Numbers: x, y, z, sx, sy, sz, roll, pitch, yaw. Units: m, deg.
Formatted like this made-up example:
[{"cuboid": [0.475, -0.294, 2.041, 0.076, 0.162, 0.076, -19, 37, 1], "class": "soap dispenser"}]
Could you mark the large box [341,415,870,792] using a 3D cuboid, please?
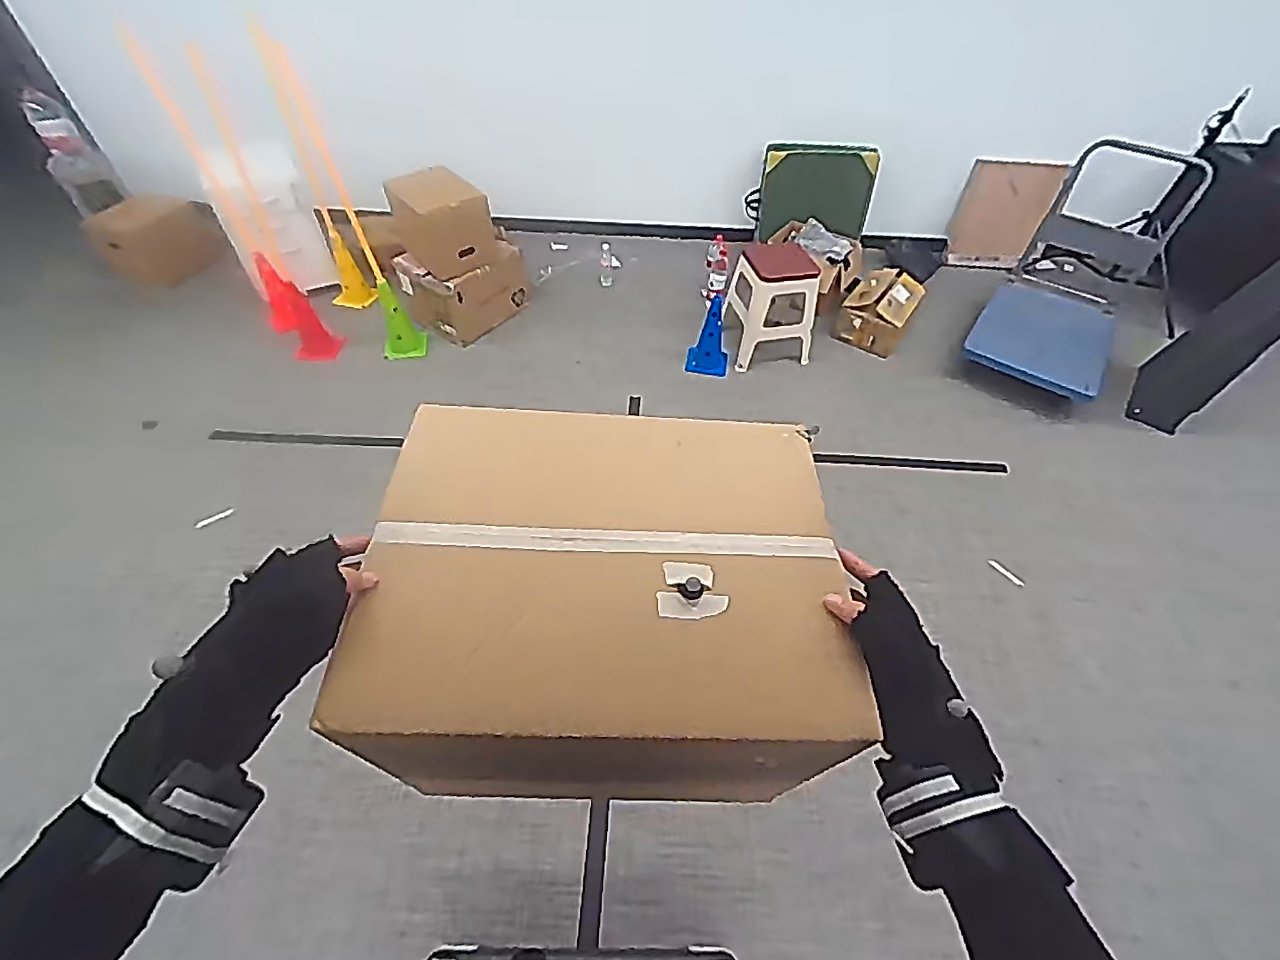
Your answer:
[{"cuboid": [-0.034, 0.150, 0.606, 0.408, 0.320, 0.320, 3, 53, -4], "class": "large box"}]

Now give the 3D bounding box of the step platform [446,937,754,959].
[{"cuboid": [-0.085, 1.125, 1.109, 0.684, 0.204, 0.286, 2, 50, -2], "class": "step platform"}]
